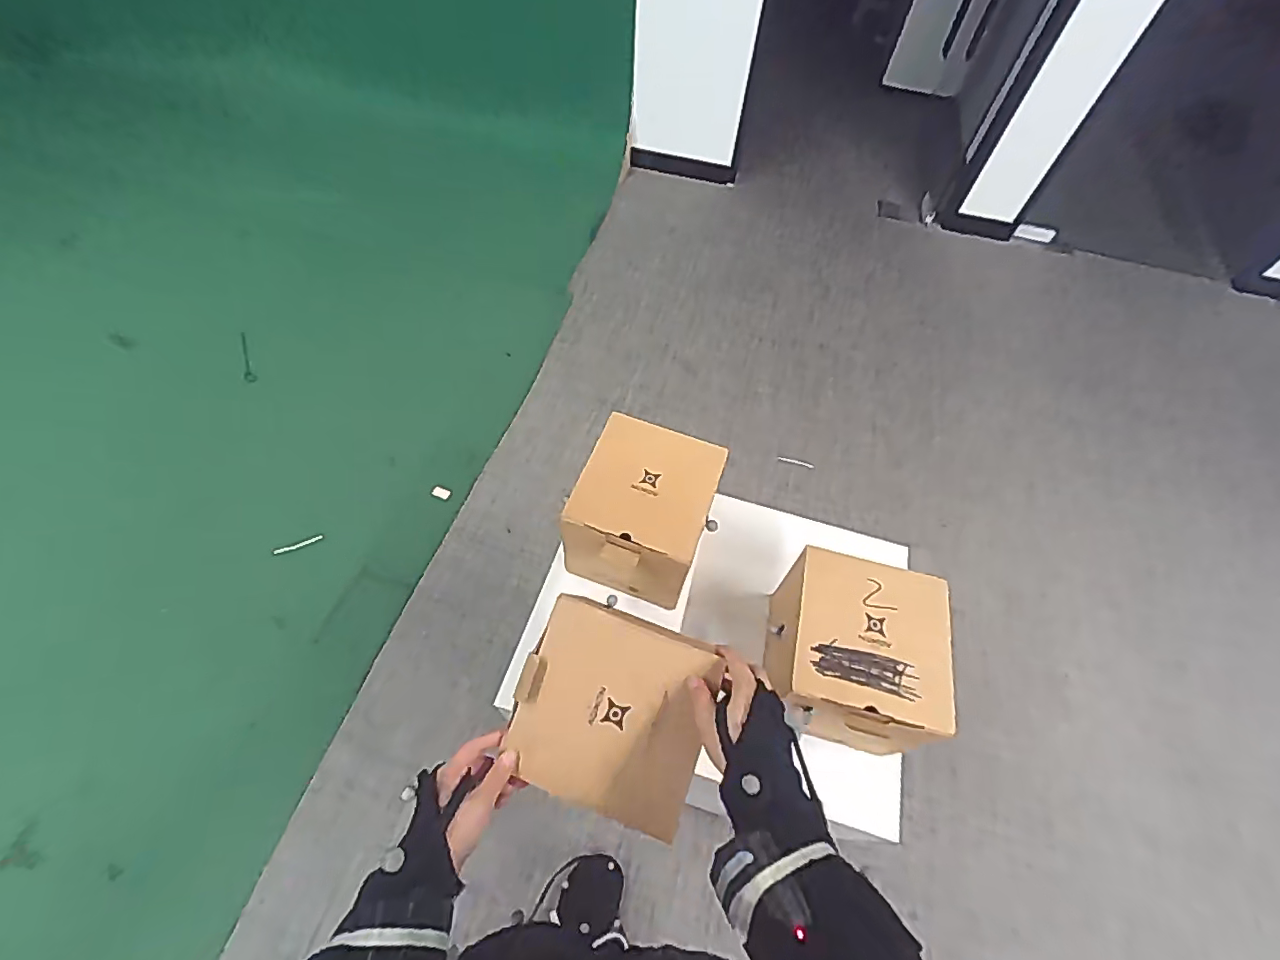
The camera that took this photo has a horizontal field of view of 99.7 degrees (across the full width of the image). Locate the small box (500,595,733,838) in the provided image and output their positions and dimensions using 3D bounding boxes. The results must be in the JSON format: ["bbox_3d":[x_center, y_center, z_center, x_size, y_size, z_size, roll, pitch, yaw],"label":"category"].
[{"bbox_3d":[-0.017,0.232,0.575,0.179,0.176,0.168,18,79,7],"label":"small box"}]

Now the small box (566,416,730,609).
[{"bbox_3d":[0.008,0.048,0.739,0.168,0.176,0.179,19,59,7],"label":"small box"}]
